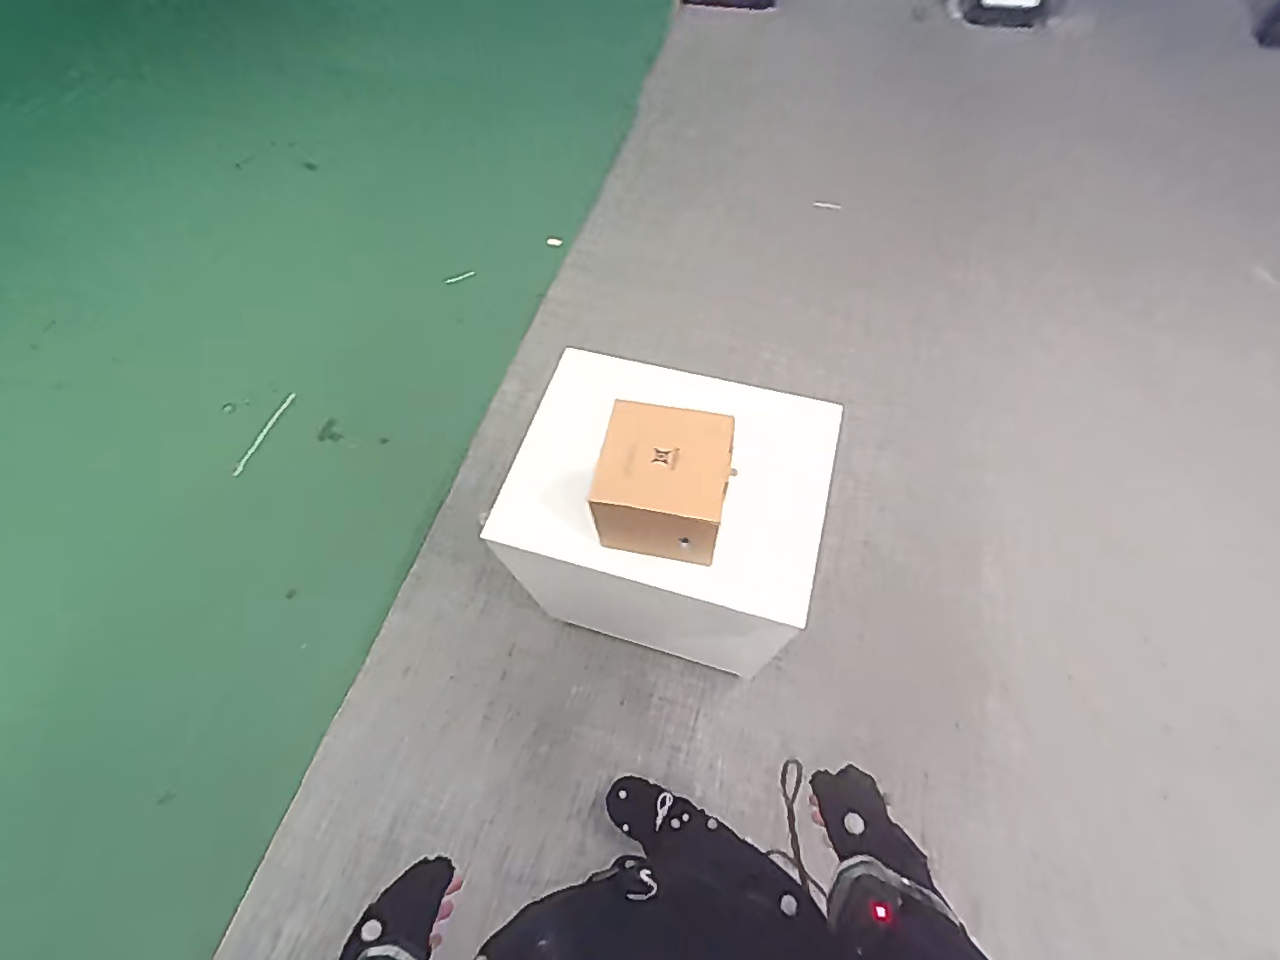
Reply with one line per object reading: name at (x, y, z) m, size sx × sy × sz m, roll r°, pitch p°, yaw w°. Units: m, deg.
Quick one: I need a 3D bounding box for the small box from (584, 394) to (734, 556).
small box at (0.034, 0.000, 0.781) m, size 0.179 × 0.176 × 0.168 m, roll 8°, pitch 63°, yaw 9°
